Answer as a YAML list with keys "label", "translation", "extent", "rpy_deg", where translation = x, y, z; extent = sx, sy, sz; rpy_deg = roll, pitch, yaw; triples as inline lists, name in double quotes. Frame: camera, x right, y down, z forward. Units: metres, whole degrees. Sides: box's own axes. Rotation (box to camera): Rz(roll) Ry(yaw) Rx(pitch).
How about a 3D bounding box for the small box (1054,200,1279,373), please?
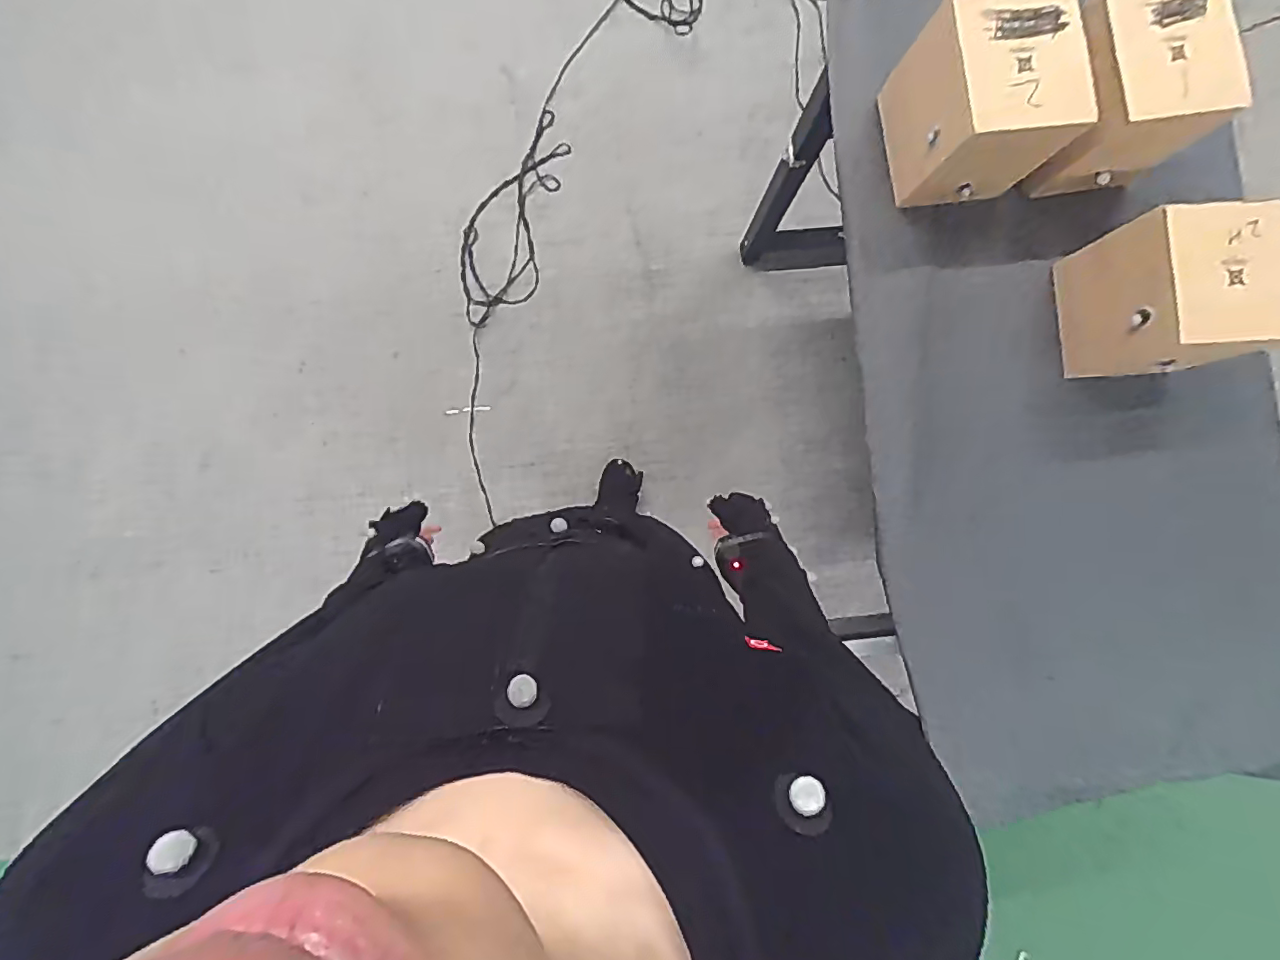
- label: "small box"
  translation: [0.705, -0.246, 0.729]
  extent: [0.168, 0.176, 0.179]
  rpy_deg: [-3, 87, -3]
